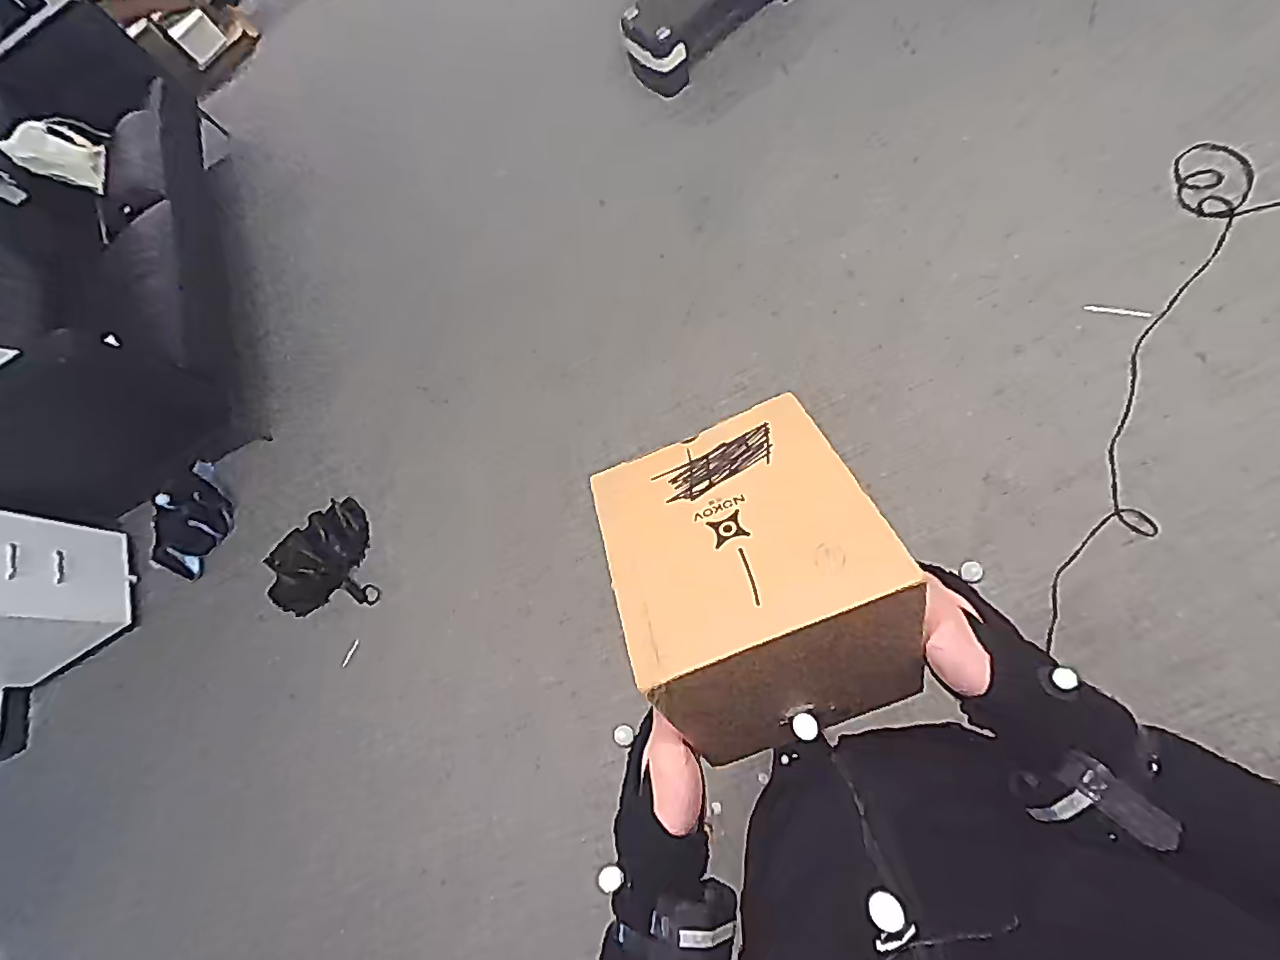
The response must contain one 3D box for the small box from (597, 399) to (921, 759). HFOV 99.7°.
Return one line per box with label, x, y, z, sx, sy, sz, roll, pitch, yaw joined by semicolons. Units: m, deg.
small box;0.083;0.076;0.407;0.168;0.176;0.179;-22;45;6
